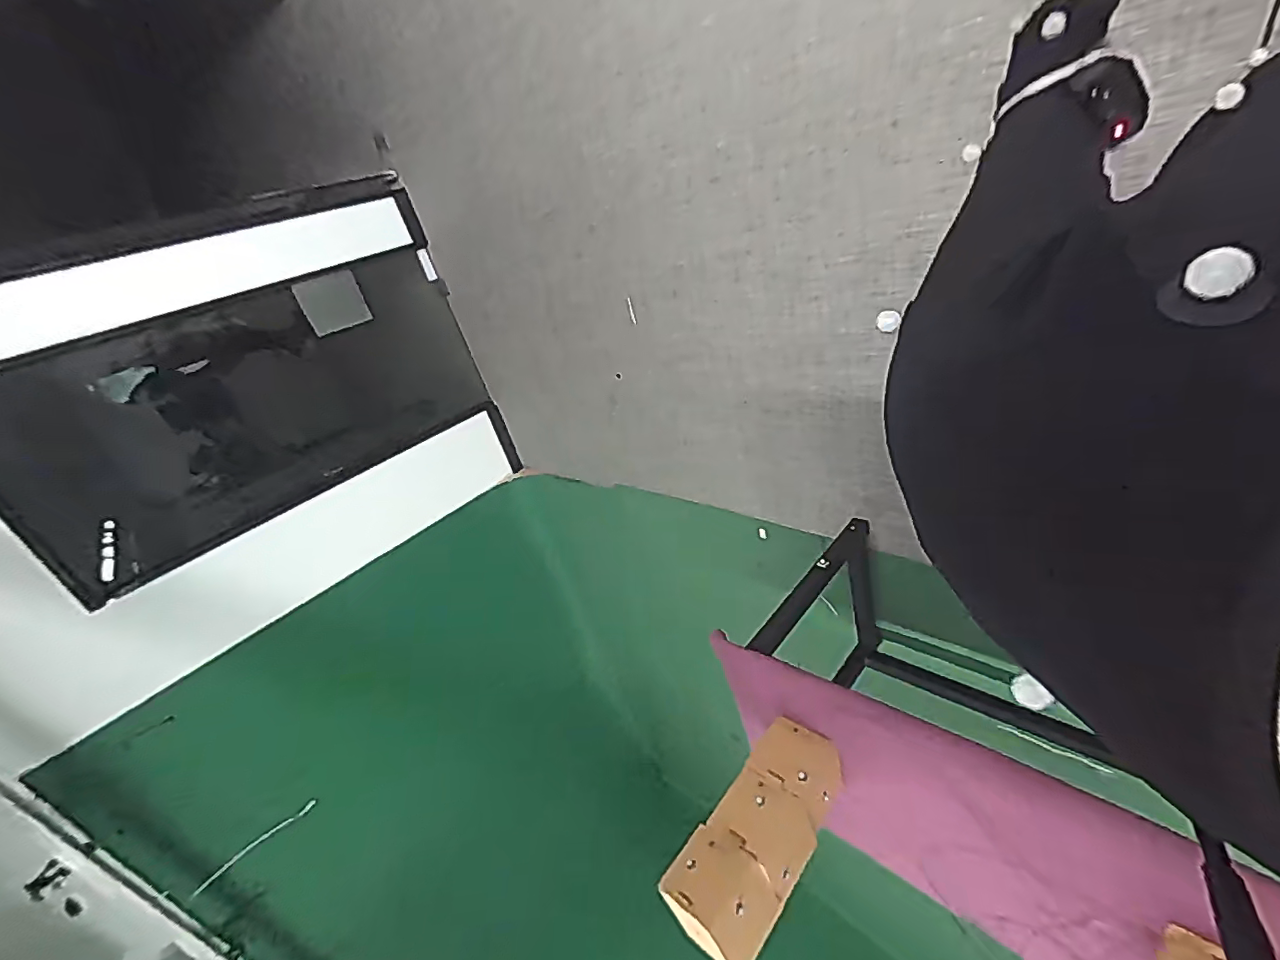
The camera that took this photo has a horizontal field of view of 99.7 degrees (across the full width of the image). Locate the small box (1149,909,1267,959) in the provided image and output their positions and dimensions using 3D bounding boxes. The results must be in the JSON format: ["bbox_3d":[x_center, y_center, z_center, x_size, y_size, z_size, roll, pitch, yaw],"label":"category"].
[{"bbox_3d":[0.927,0.858,0.868,0.168,0.176,0.179,11,128,46],"label":"small box"}]

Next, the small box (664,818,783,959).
[{"bbox_3d":[0.190,0.913,1.217,0.168,0.176,0.179,-5,118,53],"label":"small box"}]

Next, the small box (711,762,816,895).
[{"bbox_3d":[0.302,0.830,1.300,0.168,0.176,0.179,9,128,46],"label":"small box"}]
